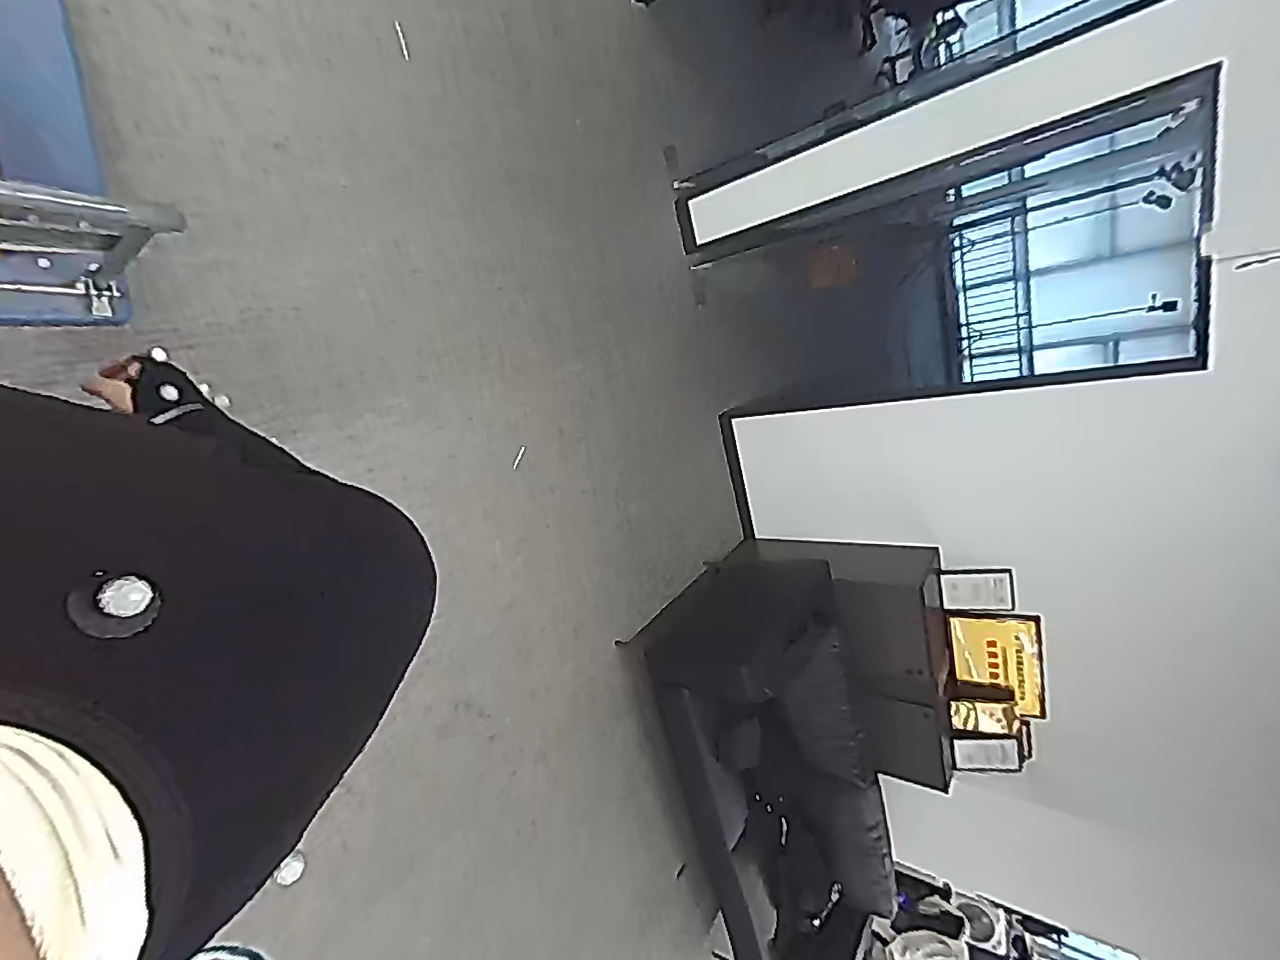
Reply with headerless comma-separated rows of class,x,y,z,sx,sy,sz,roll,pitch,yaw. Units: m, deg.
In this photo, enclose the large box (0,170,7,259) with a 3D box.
large box,-1.170,-0.570,0.754,0.320,0.320,0.408,-15,99,-50
